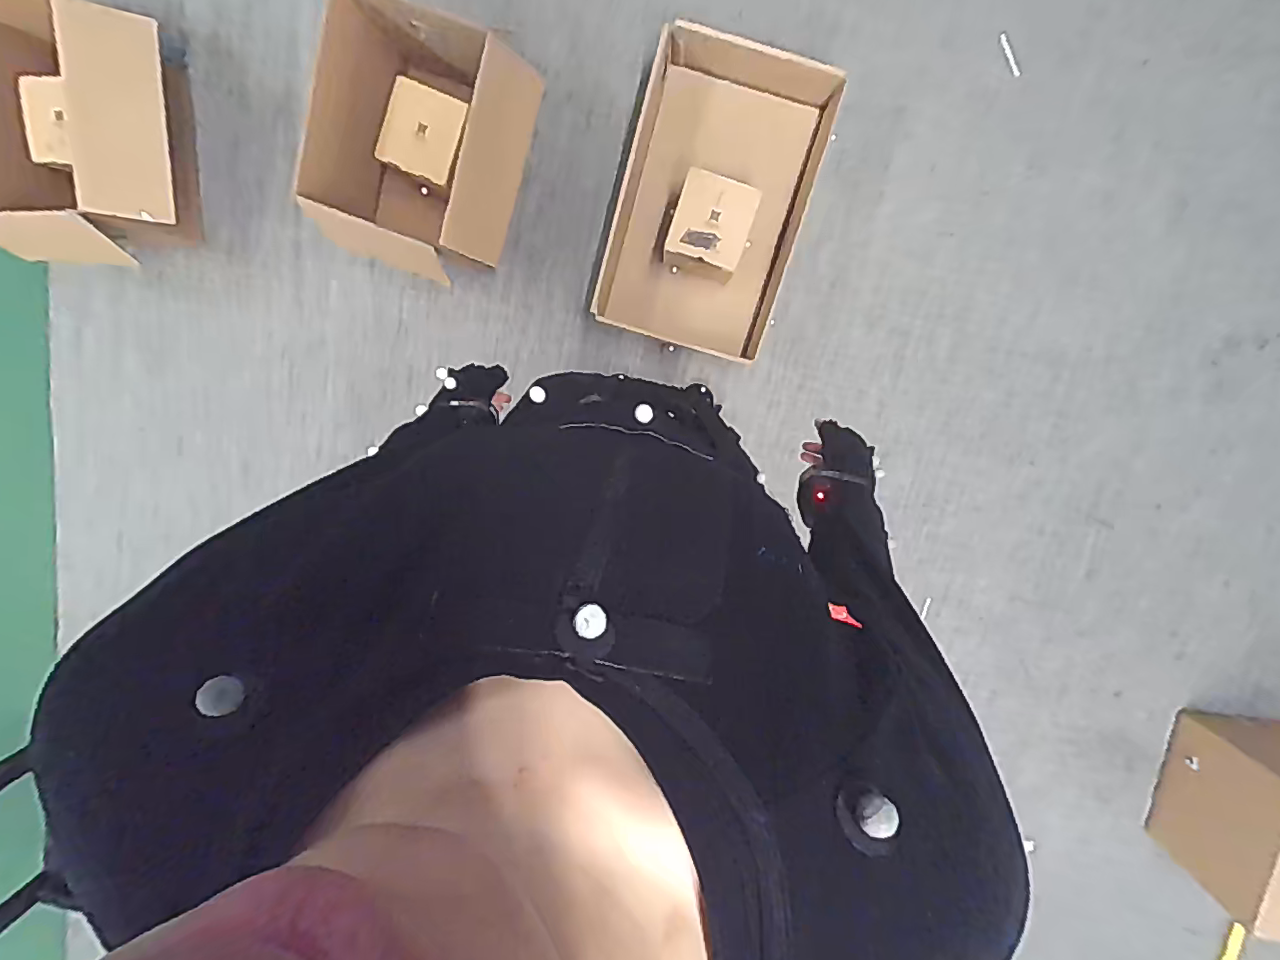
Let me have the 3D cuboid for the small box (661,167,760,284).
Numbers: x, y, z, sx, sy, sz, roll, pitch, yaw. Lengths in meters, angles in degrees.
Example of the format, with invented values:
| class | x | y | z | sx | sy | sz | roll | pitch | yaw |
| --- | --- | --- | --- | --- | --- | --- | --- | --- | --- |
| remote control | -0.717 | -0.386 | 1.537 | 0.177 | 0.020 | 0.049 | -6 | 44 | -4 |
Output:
| class | x | y | z | sx | sy | sz | roll | pitch | yaw |
| --- | --- | --- | --- | --- | --- | --- | --- | --- | --- |
| small box | 0.154 | -0.562 | 1.224 | 0.168 | 0.176 | 0.179 | 19 | 100 | -2 |
